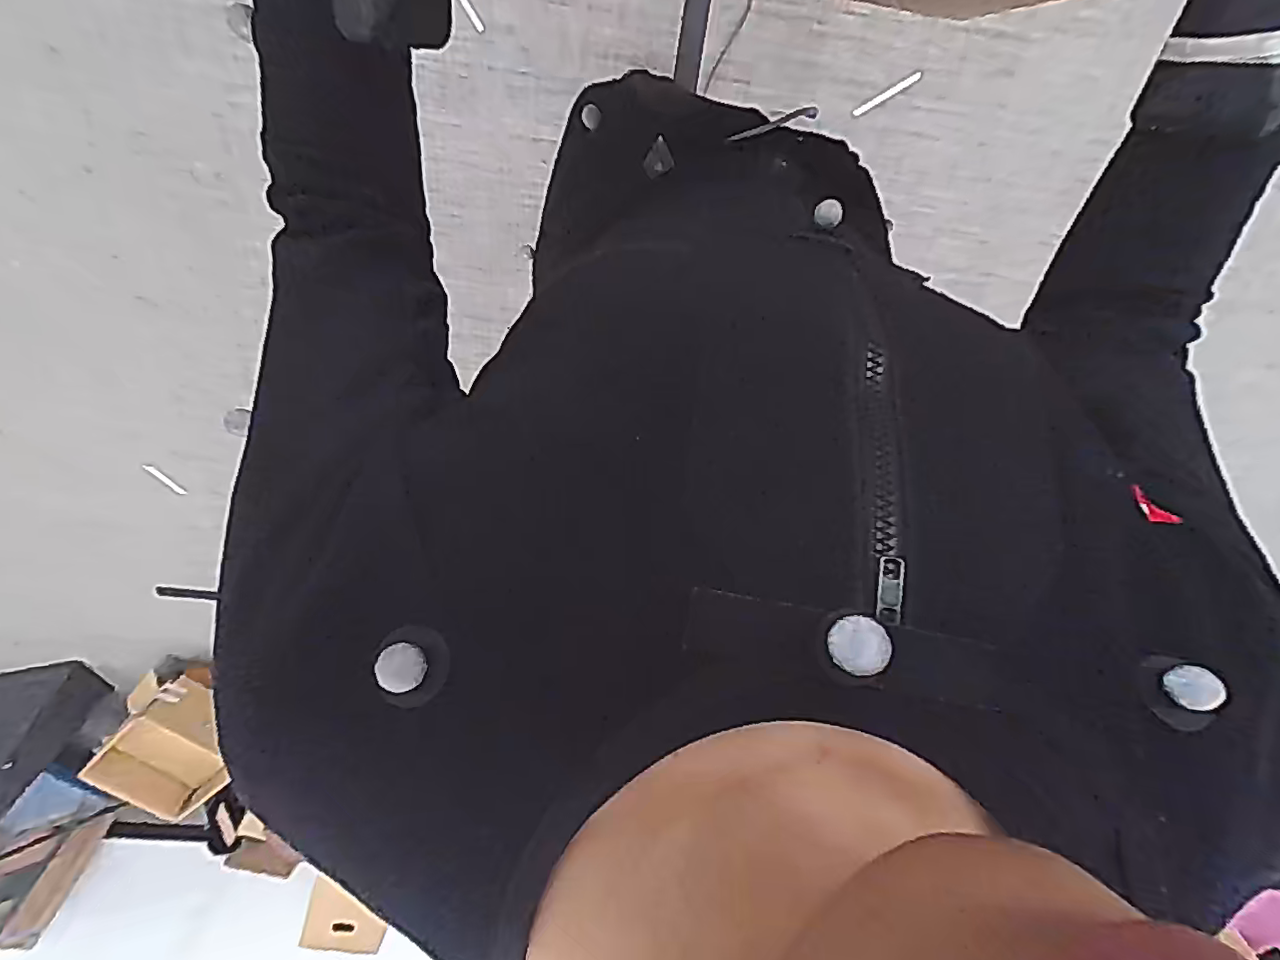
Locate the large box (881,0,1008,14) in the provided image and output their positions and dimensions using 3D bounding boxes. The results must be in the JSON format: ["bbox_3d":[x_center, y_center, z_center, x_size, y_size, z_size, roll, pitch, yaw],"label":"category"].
[{"bbox_3d":[0.110,-0.468,0.258,0.408,0.320,0.320,6,127,-6],"label":"large box"}]
